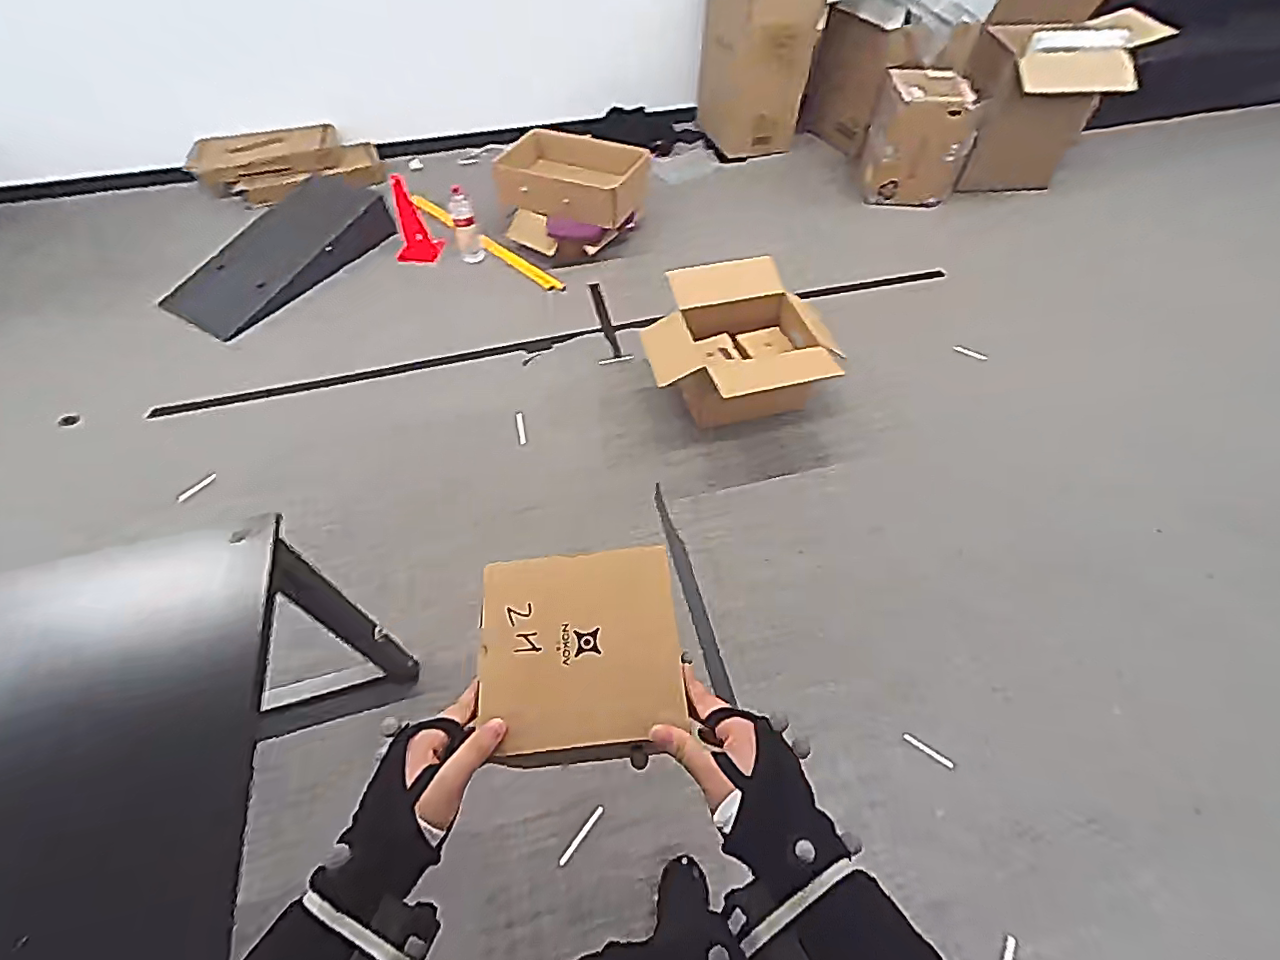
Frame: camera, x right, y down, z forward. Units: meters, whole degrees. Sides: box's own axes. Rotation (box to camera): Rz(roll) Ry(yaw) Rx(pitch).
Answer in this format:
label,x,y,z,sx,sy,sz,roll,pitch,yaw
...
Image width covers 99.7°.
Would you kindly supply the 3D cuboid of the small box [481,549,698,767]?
label,x,y,z,sx,sy,sz,roll,pitch,yaw
small box,-0.043,0.183,0.537,0.179,0.176,0.168,-7,59,1
